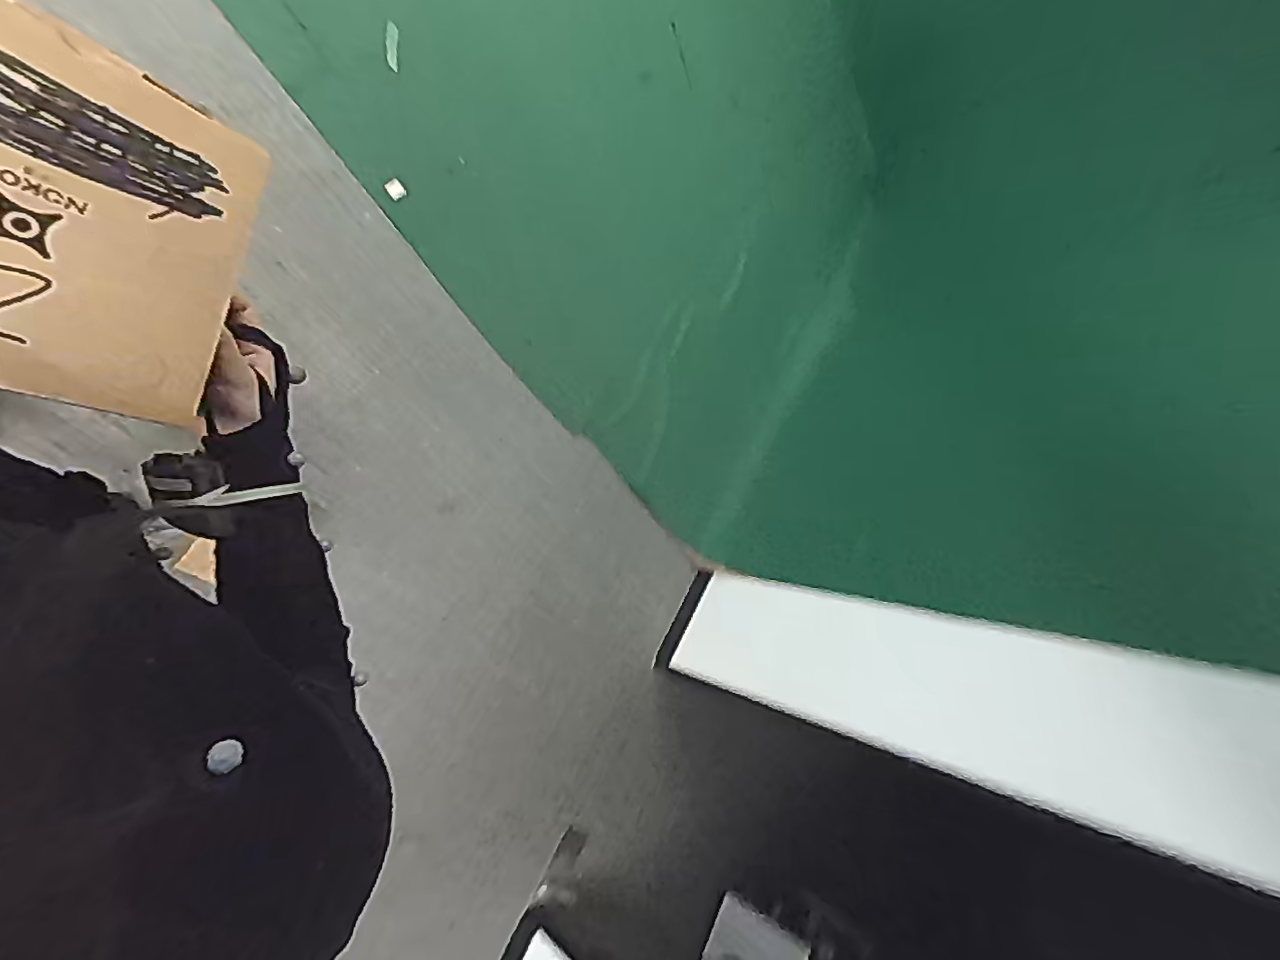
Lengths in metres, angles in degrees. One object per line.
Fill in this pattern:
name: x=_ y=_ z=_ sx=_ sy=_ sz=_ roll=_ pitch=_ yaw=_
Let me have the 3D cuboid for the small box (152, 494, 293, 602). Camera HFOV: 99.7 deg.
small box: x=-0.910 y=0.142 z=1.176 sx=0.179 sy=0.176 sz=0.168 roll=47 pitch=61 yaw=-37
